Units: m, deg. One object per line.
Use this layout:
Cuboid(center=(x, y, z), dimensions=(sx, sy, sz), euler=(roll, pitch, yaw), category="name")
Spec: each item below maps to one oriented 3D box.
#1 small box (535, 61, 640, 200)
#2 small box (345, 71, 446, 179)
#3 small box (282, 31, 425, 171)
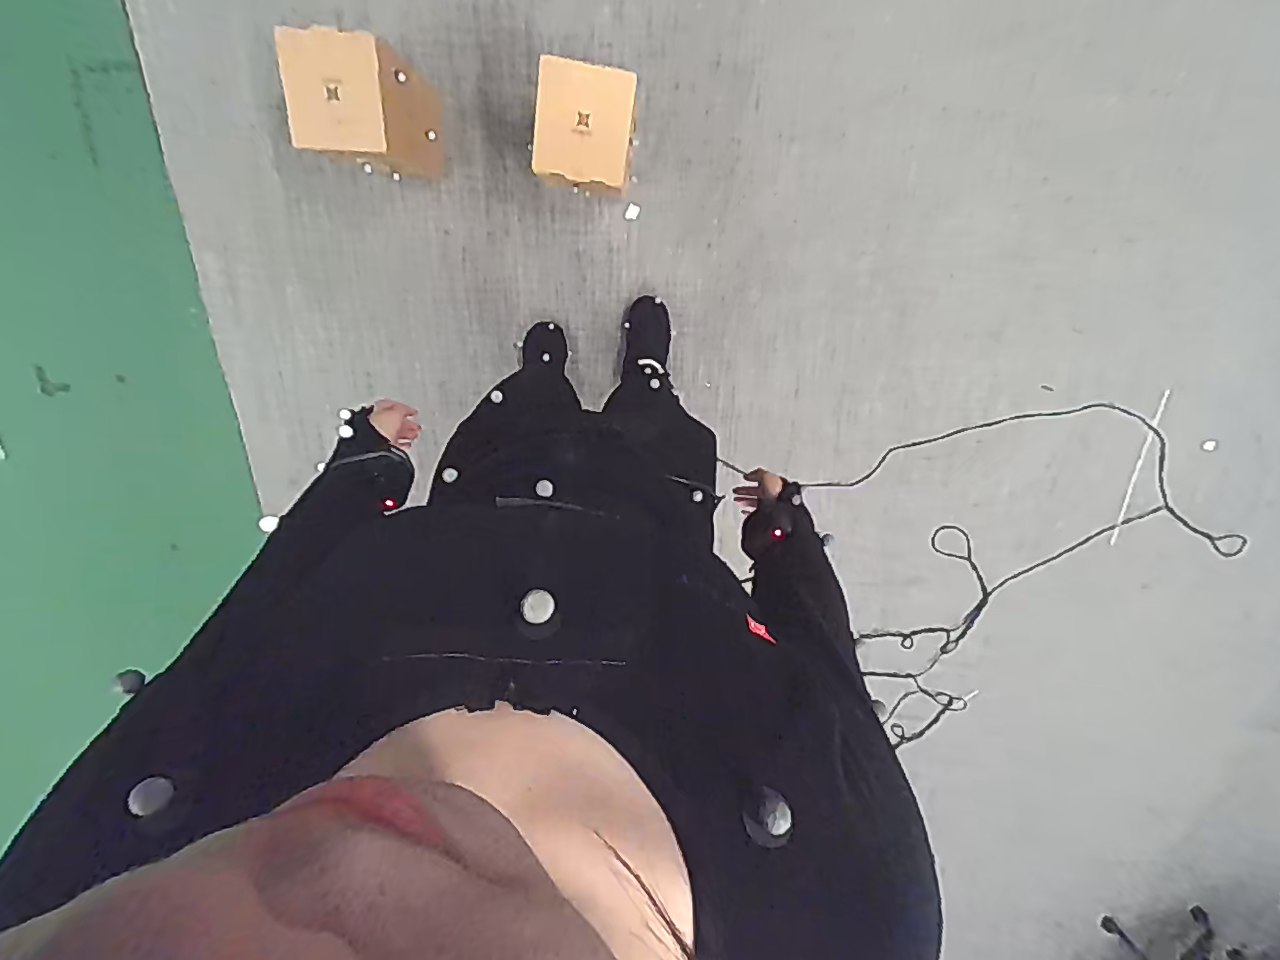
Cuboid(center=(-0.097, -0.645, 1.020), dimensions=(0.168, 0.176, 0.179), euler=(9, 113, -4), category="small box")
Cuboid(center=(-0.518, -0.750, 1.146), dimensions=(0.168, 0.176, 0.179), euler=(5, 113, -3), category="small box")
Cuboid(center=(-0.513, -0.686, 0.996), dimensions=(0.168, 0.176, 0.179), euler=(3, 113, -1), category="small box")
